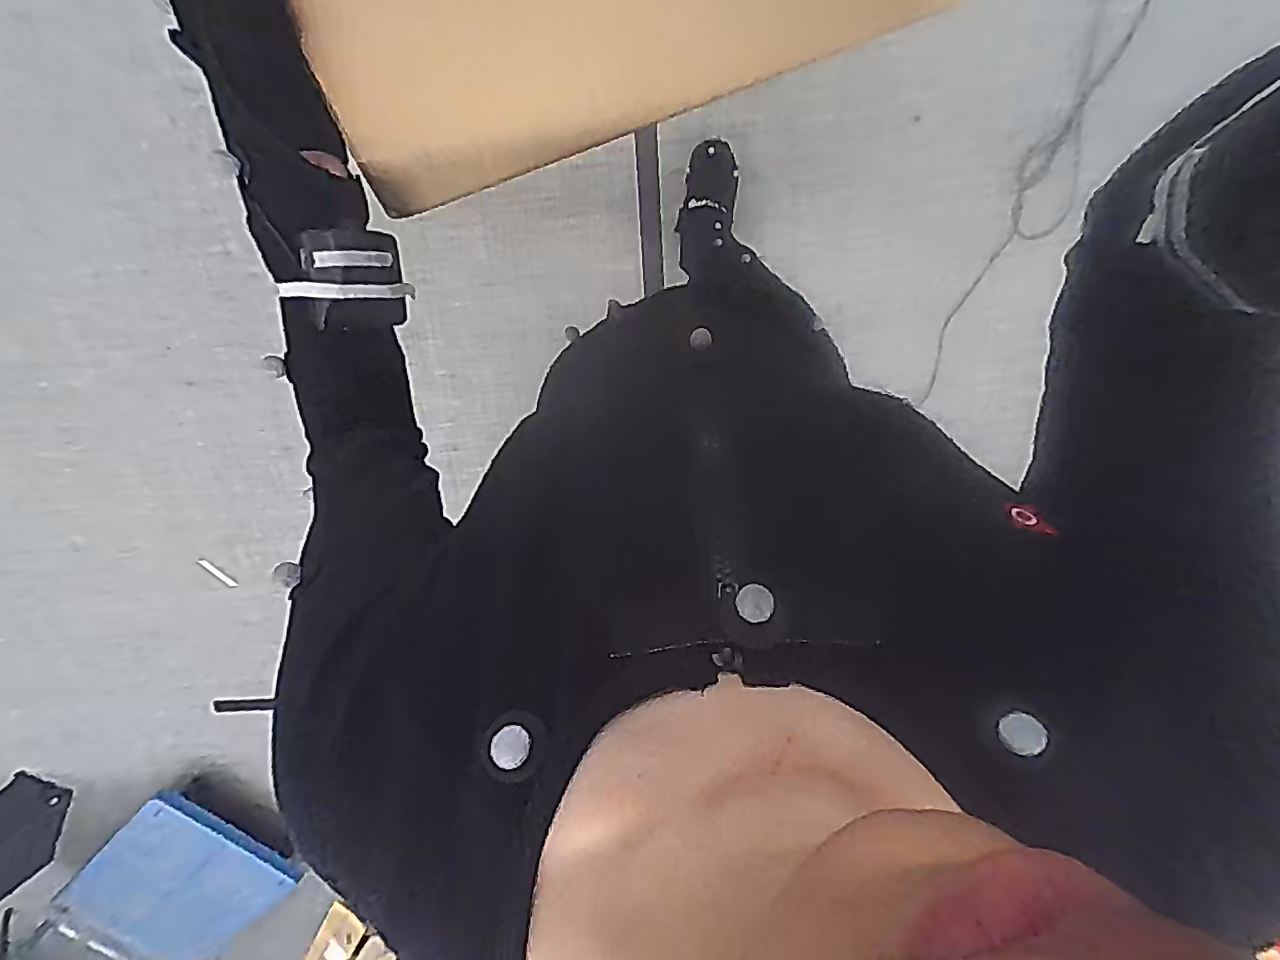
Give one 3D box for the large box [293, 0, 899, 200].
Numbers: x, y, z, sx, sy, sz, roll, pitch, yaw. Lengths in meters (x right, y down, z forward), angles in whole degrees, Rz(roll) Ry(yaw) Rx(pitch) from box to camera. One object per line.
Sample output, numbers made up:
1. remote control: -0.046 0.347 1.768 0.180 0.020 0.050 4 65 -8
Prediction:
1. large box: -0.043 -0.457 0.394 0.408 0.320 0.320 -18 126 7
